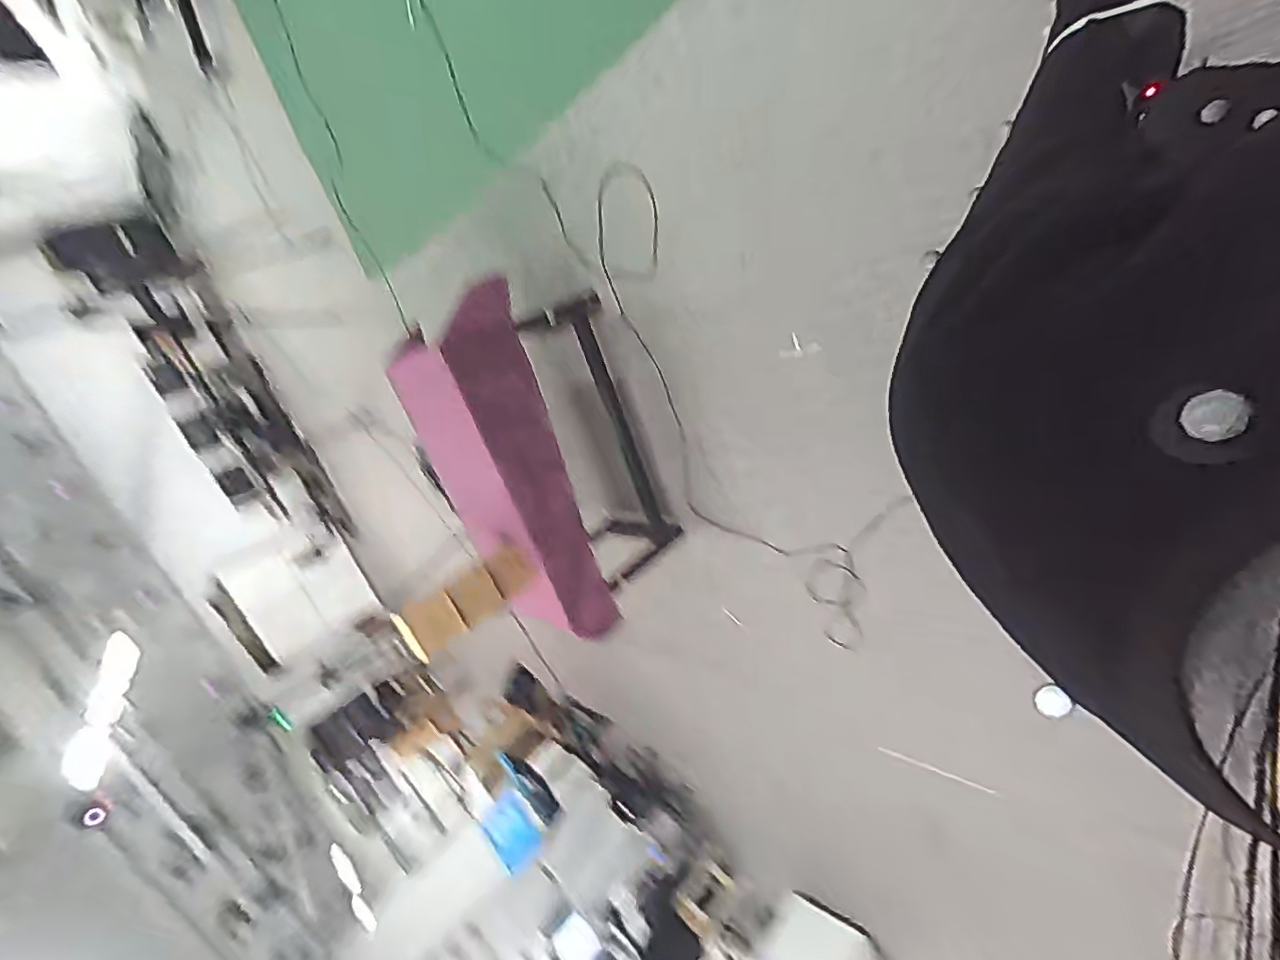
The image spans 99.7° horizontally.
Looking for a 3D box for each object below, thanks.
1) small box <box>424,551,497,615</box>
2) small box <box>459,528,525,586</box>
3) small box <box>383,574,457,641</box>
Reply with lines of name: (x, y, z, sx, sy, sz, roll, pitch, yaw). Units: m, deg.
small box: (-0.674, 0.380, 2.034, 0.168, 0.176, 0.179, -7, 113, 52)
small box: (-0.581, 0.302, 2.147, 0.179, 0.176, 0.168, -6, 113, 52)
small box: (-0.780, 0.448, 1.930, 0.179, 0.176, 0.168, -12, 108, 53)
